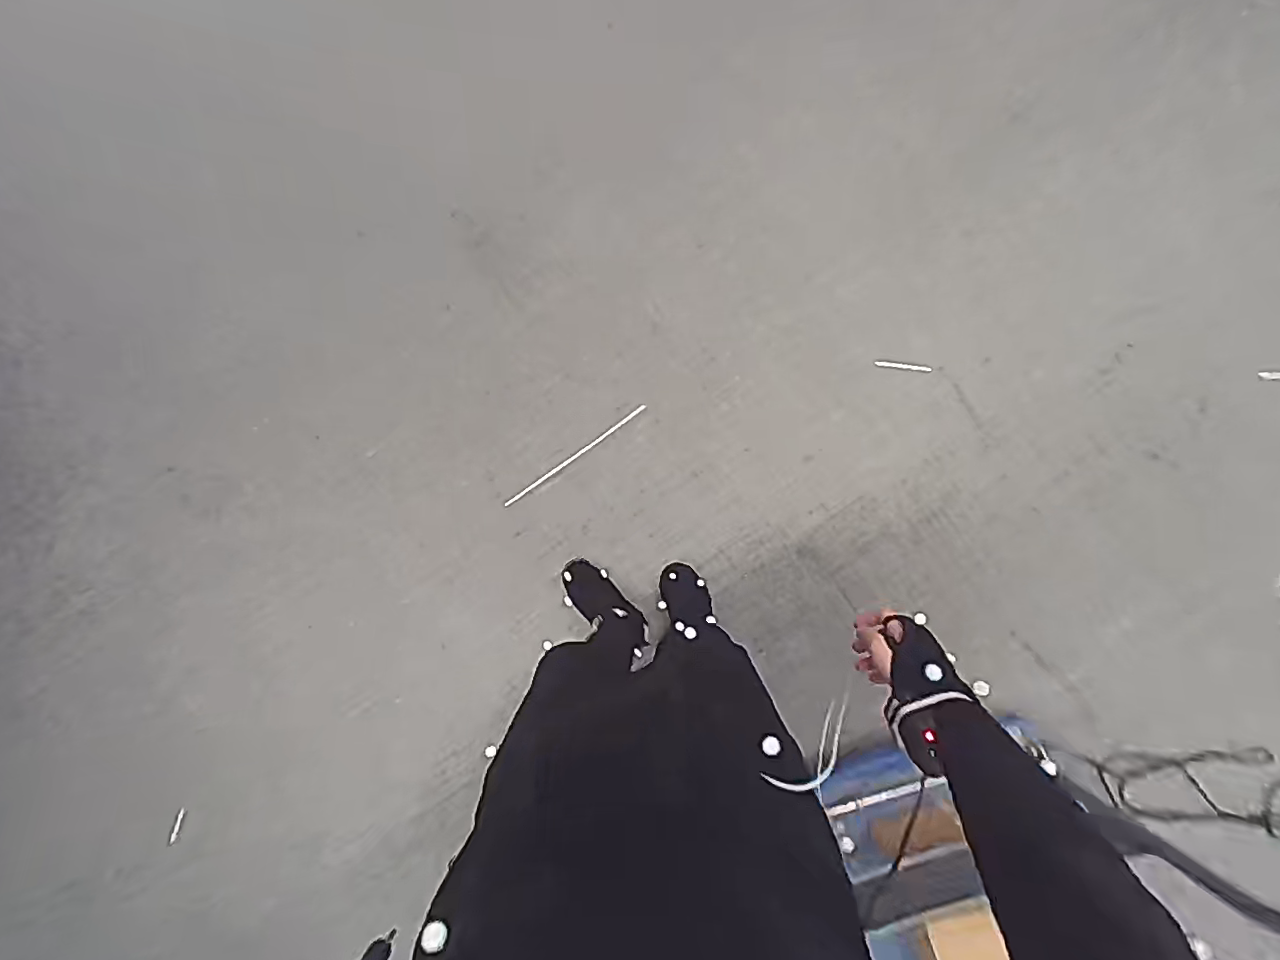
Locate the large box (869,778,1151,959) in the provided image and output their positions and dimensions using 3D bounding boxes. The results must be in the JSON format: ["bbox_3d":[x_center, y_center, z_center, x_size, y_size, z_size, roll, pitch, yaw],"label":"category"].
[{"bbox_3d":[0.689,0.859,1.001,0.320,0.320,0.408,-20,83,5],"label":"large box"}]
